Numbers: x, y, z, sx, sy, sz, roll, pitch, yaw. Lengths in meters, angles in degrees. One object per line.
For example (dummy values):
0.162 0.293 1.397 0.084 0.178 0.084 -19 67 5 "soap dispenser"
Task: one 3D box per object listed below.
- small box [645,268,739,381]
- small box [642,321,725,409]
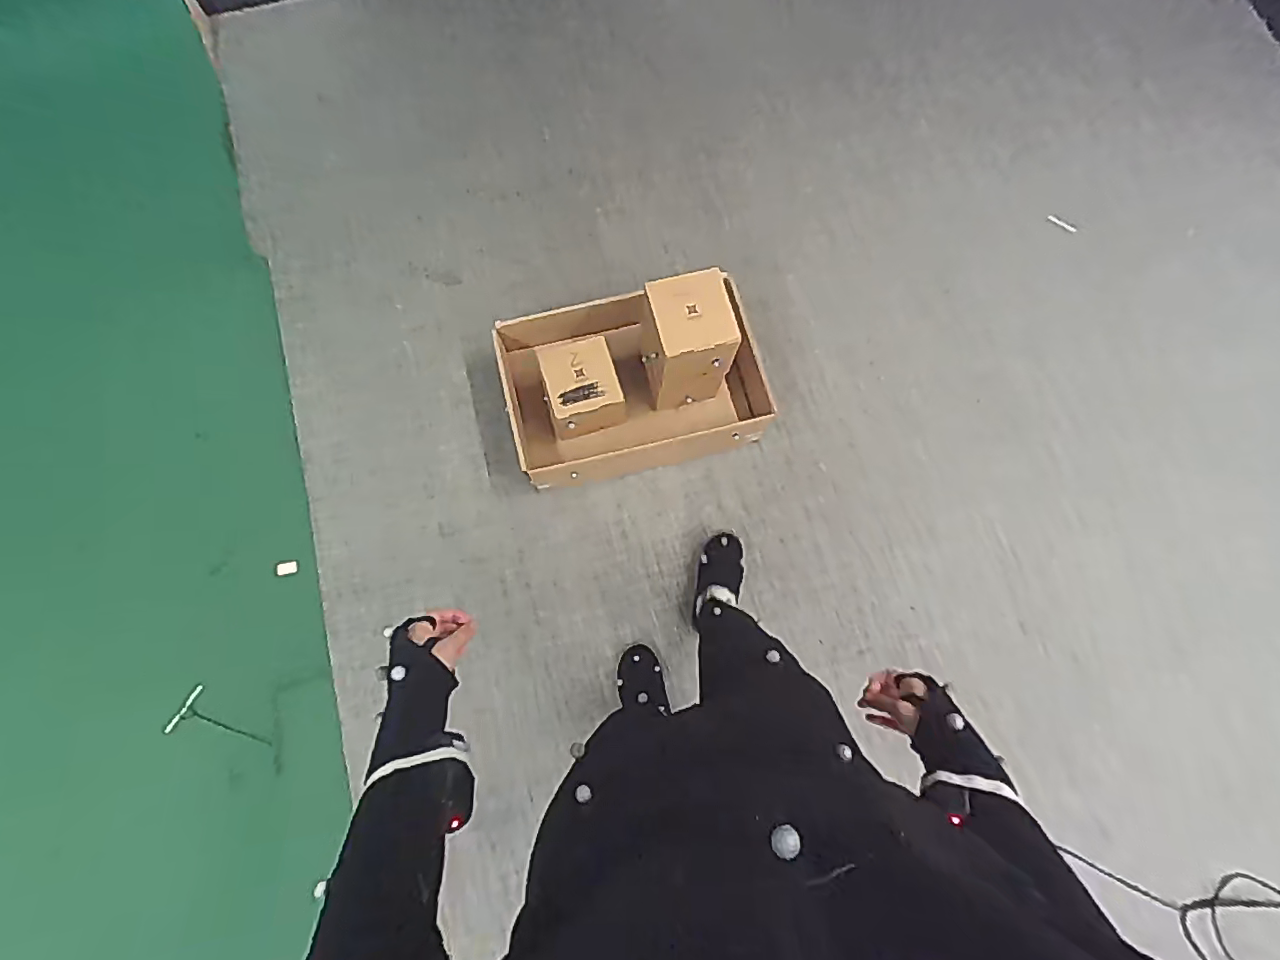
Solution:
0.109 -0.334 1.207 0.168 0.176 0.179 -14 78 -4 "small box"
0.102 -0.302 1.366 0.168 0.176 0.179 -14 78 -3 "small box"
